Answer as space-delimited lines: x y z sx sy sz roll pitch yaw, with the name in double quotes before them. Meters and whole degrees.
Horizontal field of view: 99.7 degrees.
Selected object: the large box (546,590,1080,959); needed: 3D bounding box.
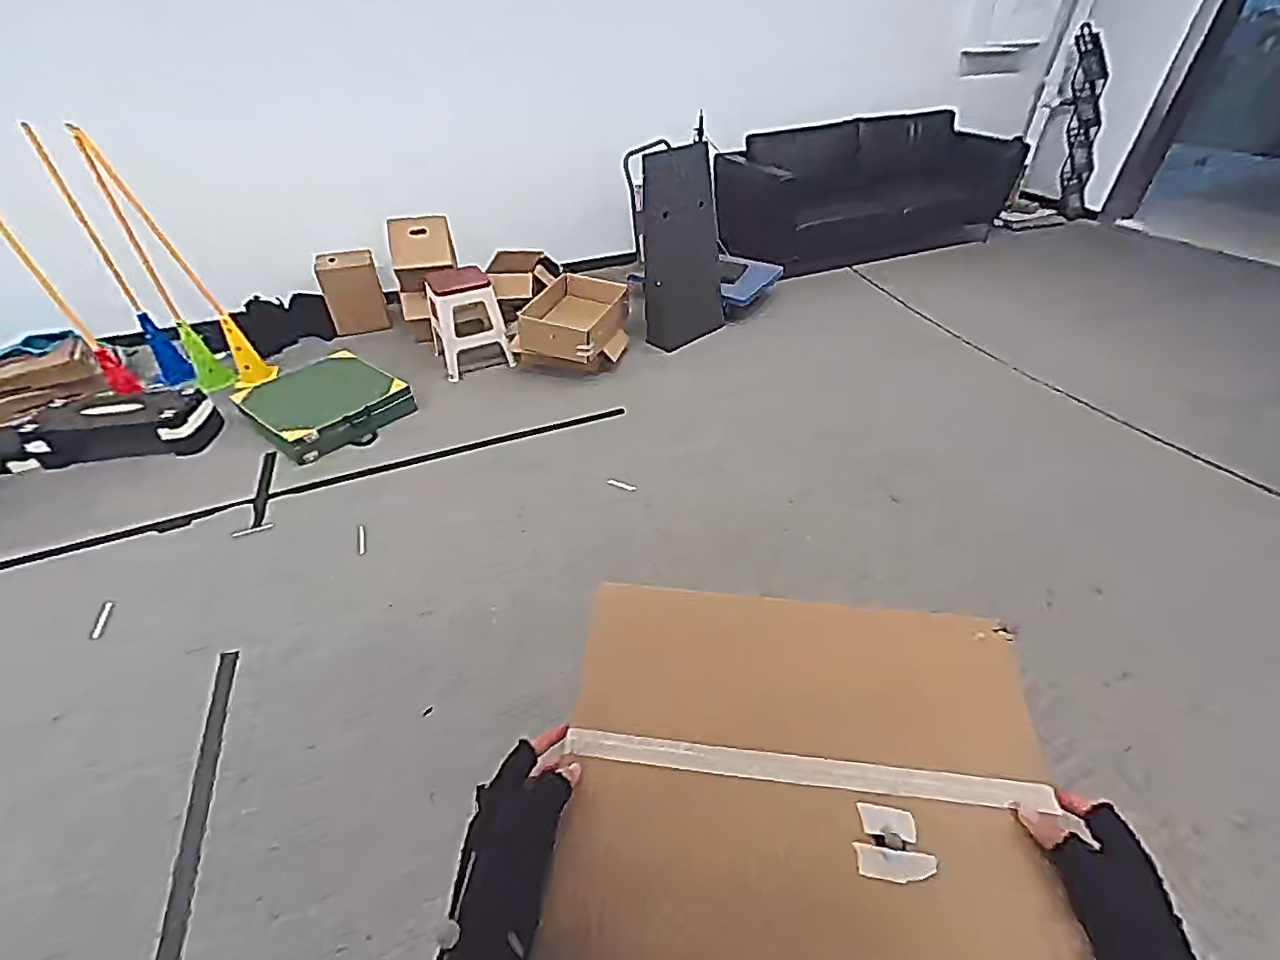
"large box" 0.142 0.343 0.599 0.408 0.320 0.320 4 54 6
